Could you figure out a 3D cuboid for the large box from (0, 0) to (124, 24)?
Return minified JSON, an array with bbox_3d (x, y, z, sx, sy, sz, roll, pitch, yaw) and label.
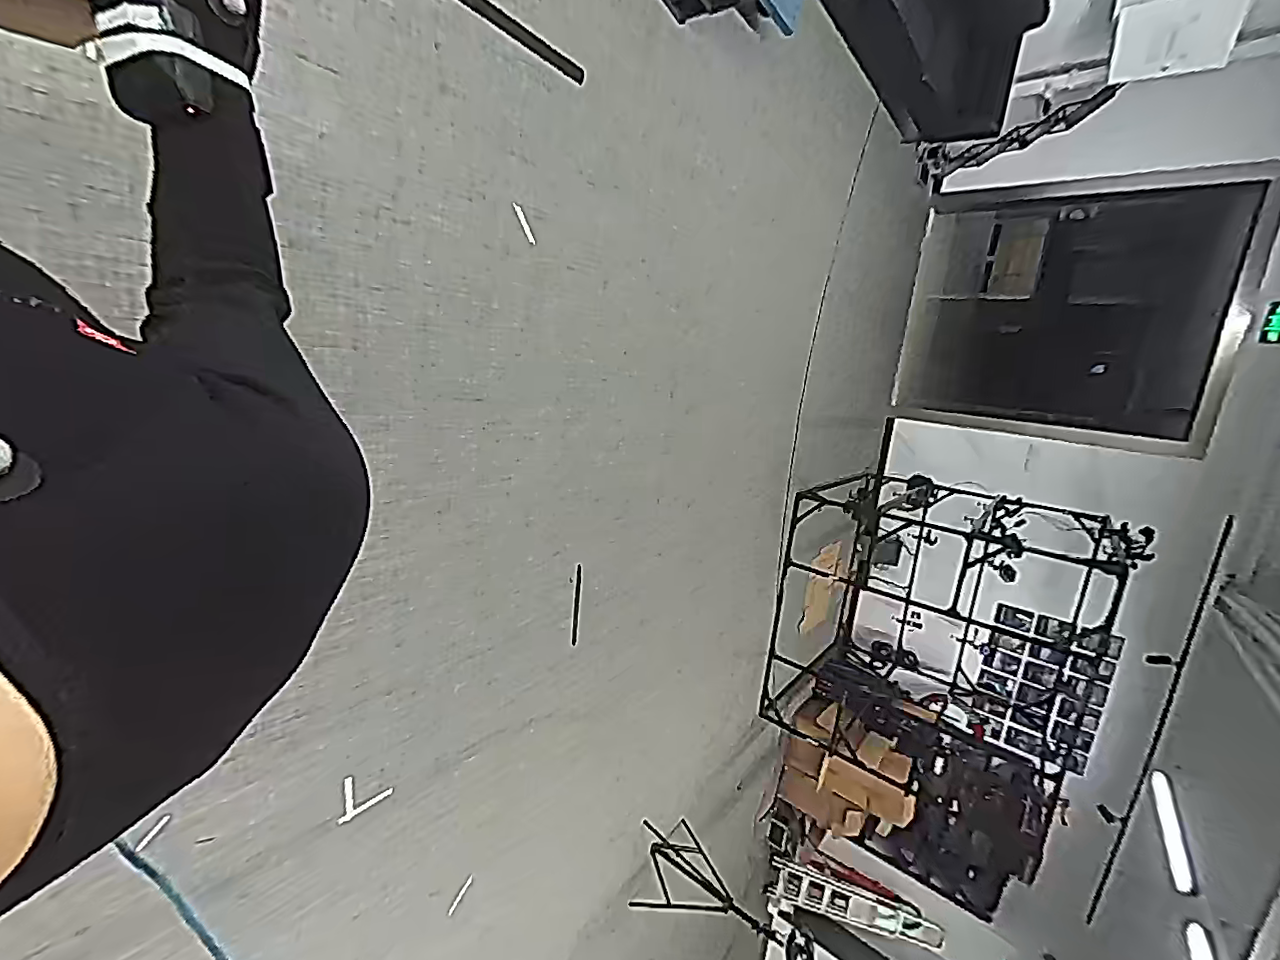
[{"bbox_3d":[-0.547,-0.487,0.246,0.408,0.320,0.320,-18,127,-50],"label":"large box"}]
